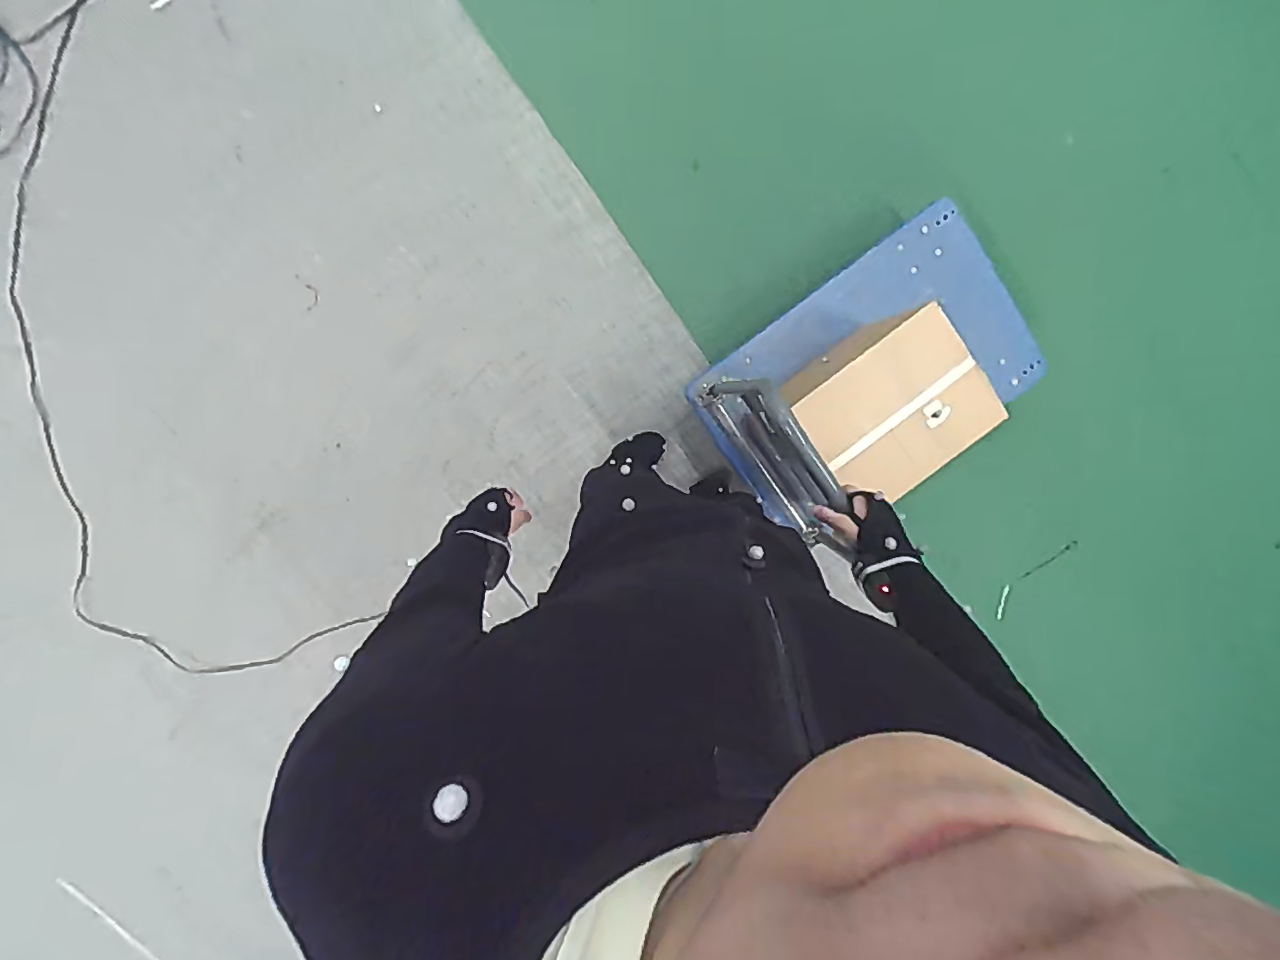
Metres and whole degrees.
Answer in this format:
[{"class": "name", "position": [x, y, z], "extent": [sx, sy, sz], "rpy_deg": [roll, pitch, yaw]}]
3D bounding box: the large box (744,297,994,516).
[{"class": "large box", "position": [0.533, -0.171, 1.331], "extent": [0.408, 0.320, 0.320], "rpy_deg": [-37, 99, 0]}]
